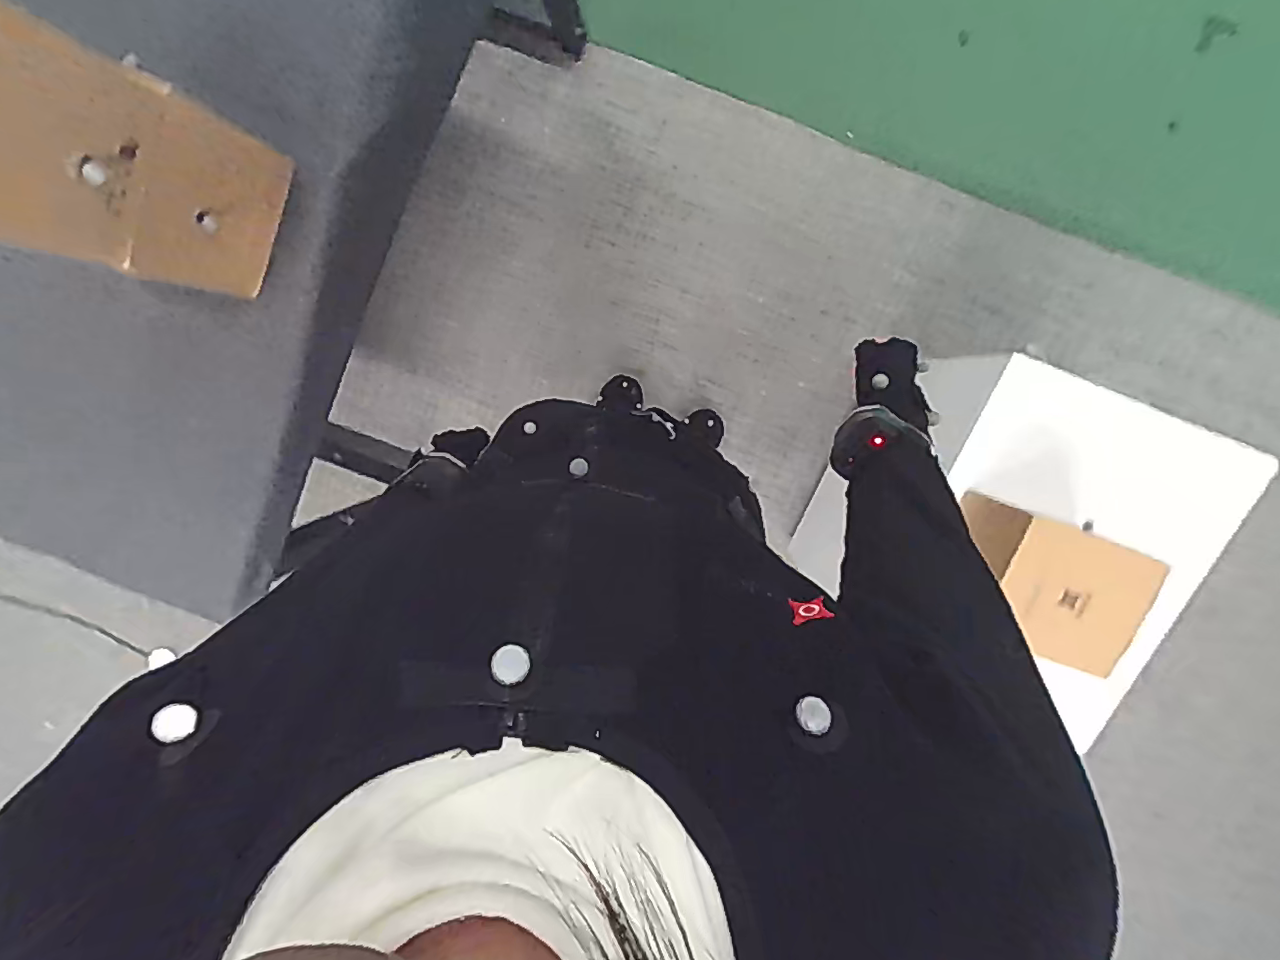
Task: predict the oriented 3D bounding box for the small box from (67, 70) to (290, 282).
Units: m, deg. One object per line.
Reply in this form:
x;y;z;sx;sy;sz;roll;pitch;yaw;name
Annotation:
-0.525;-0.337;0.587;0.168;0.176;0.179;25;103;1;small box

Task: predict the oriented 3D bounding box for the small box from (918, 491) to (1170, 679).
0.515;0.126;0.722;0.179;0.176;0.168;20;102;2;small box
